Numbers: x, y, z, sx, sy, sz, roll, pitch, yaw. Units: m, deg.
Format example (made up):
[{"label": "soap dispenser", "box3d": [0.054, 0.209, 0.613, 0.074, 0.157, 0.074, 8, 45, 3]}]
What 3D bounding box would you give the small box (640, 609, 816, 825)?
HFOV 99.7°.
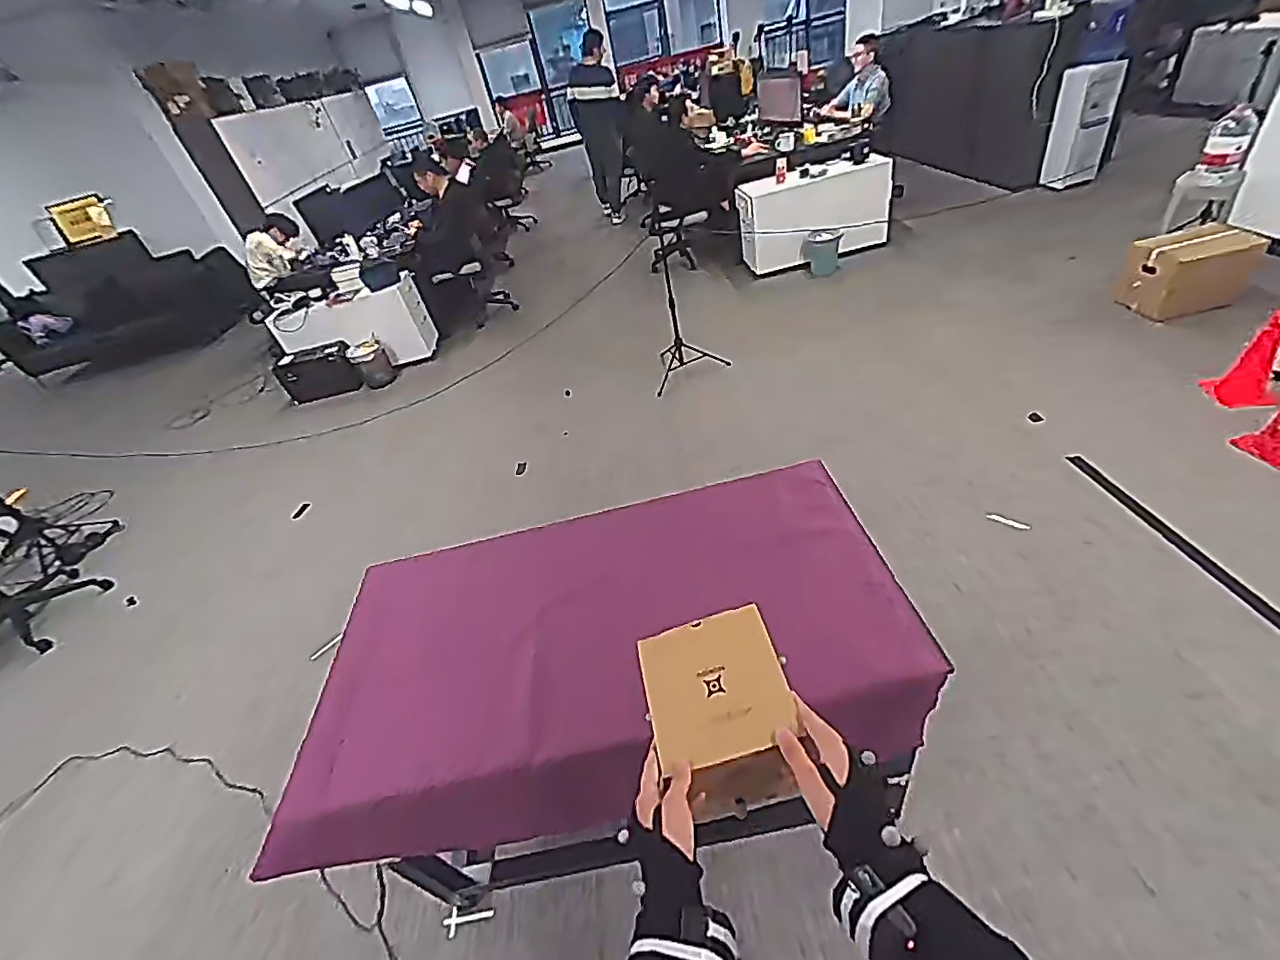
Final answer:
[{"label": "small box", "box3d": [0.111, 0.302, 0.691, 0.168, 0.176, 0.179, -19, 39, 4]}]
